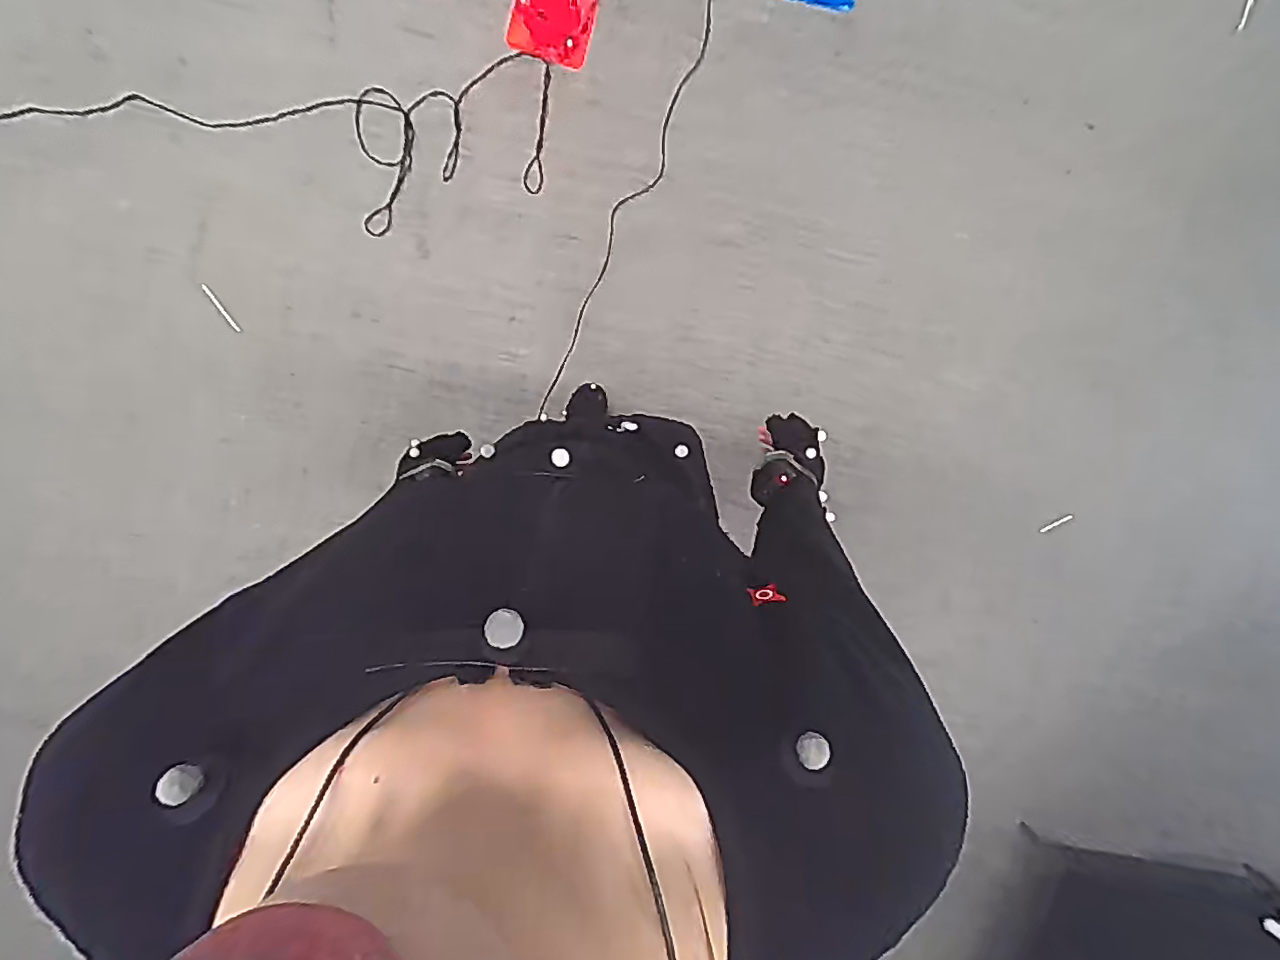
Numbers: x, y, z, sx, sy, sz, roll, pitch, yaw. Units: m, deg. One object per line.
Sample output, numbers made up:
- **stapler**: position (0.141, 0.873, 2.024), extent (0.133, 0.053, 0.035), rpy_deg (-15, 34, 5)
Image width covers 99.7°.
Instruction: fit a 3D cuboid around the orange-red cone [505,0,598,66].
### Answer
- **orange-red cone**: position (-0.207, -1.127, 1.161), extent (0.198, 0.360, 0.199), rpy_deg (16, 96, -5)
